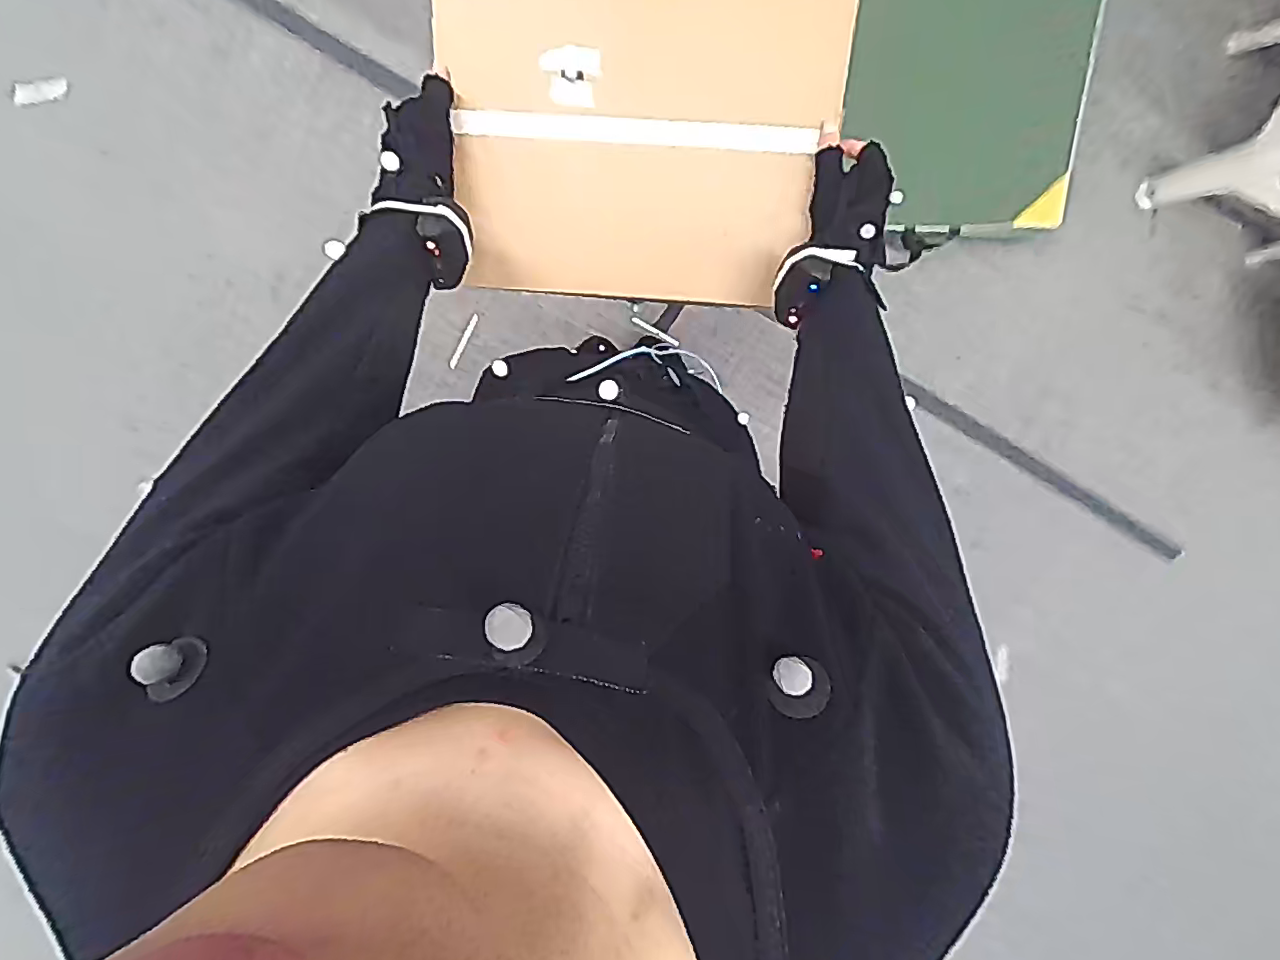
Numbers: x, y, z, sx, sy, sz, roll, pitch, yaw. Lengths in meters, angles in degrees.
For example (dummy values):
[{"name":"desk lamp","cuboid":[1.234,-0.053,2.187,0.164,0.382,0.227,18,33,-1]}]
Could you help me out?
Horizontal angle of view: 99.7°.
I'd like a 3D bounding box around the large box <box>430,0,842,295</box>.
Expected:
[{"name":"large box","cuboid":[-0.002,-0.408,0.691,0.408,0.320,0.320,4,108,2]}]
